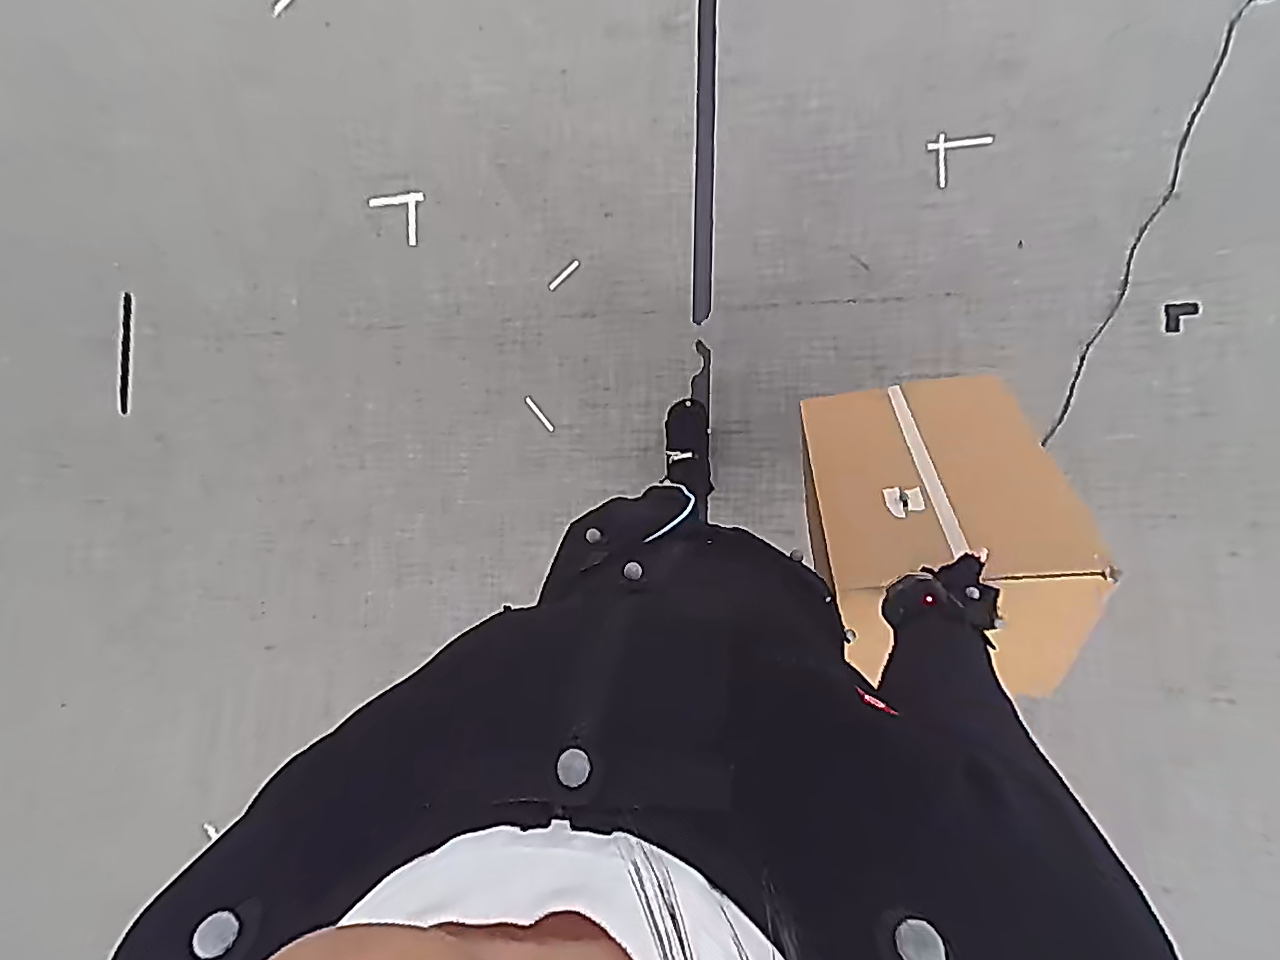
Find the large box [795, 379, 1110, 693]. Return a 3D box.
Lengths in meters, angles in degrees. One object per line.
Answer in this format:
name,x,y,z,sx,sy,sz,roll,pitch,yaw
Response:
large box,0.445,0.090,0.891,0.320,0.320,0.408,-7,44,15
